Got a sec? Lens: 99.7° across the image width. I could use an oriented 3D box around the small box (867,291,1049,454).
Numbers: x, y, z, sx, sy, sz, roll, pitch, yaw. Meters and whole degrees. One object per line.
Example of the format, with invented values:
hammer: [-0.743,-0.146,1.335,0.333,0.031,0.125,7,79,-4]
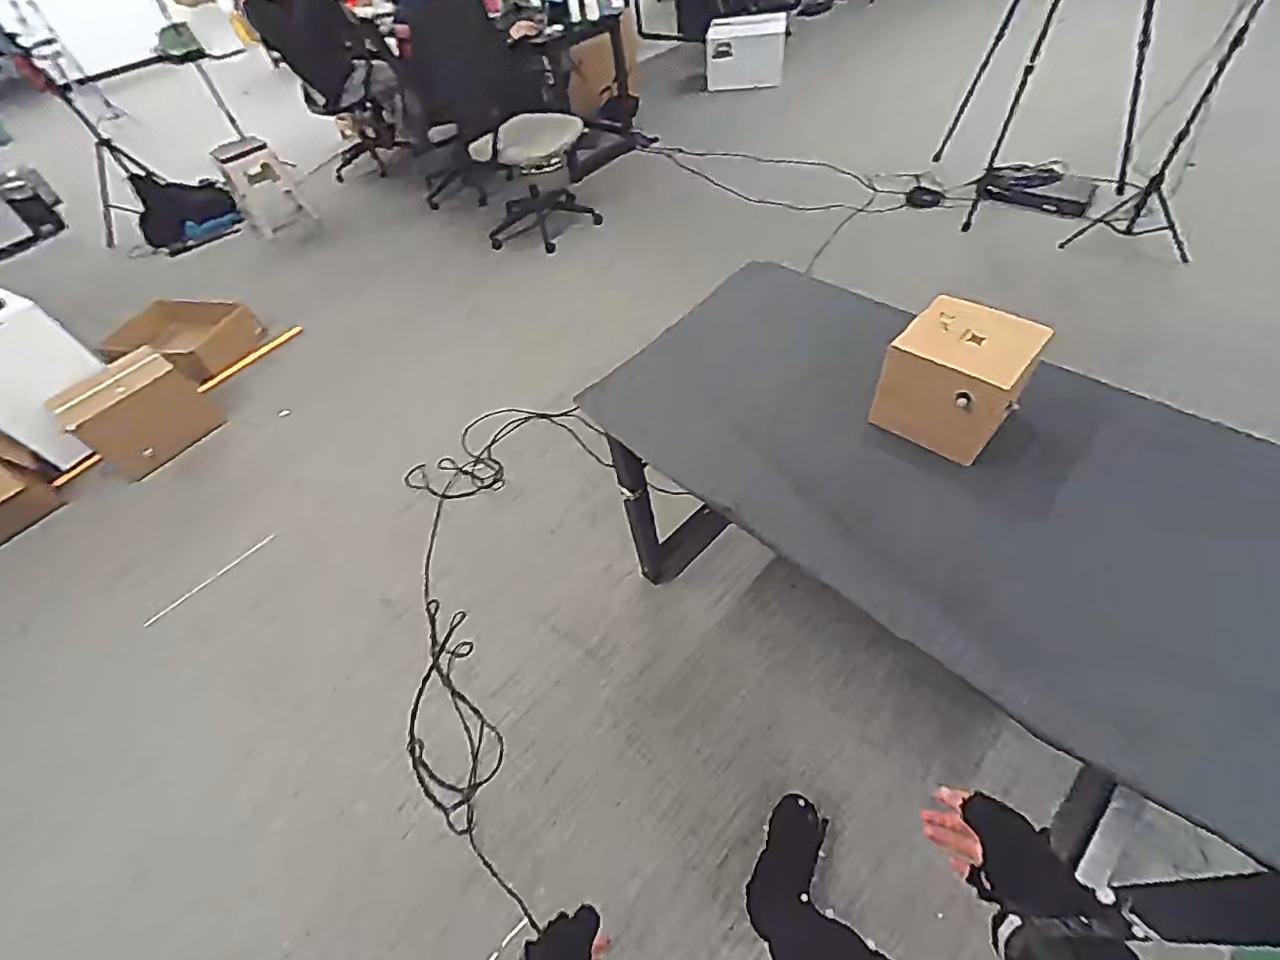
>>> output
small box: [0.499,-0.168,0.872,0.179,0.176,0.168,34,64,31]
